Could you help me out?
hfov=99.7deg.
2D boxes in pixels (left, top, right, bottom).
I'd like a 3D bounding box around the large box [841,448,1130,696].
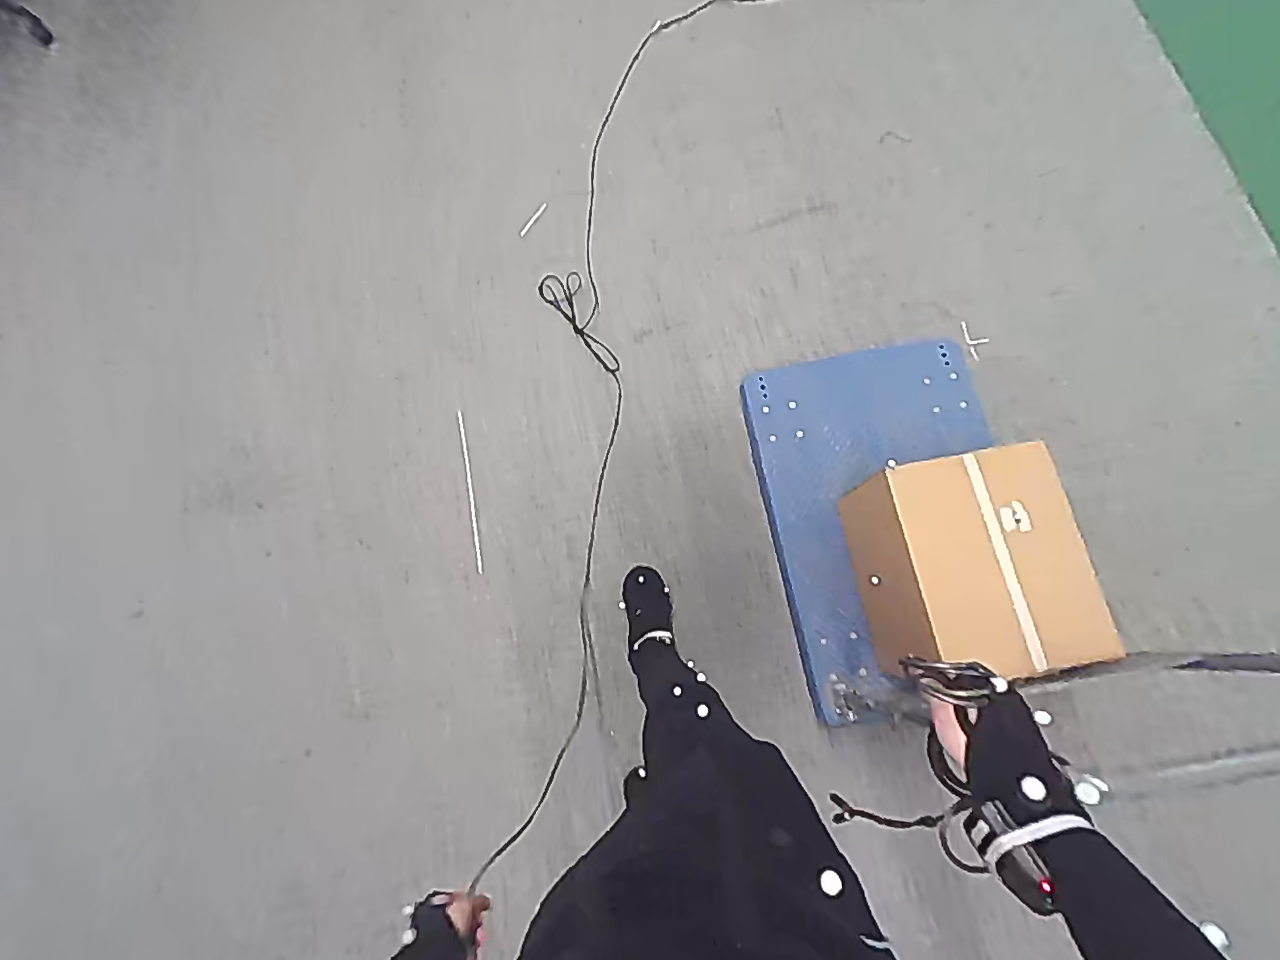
[{"bbox_3d":[0.656,0.192,1.109,0.320,0.320,0.408,-9,75,-1],"label":"large box"}]
